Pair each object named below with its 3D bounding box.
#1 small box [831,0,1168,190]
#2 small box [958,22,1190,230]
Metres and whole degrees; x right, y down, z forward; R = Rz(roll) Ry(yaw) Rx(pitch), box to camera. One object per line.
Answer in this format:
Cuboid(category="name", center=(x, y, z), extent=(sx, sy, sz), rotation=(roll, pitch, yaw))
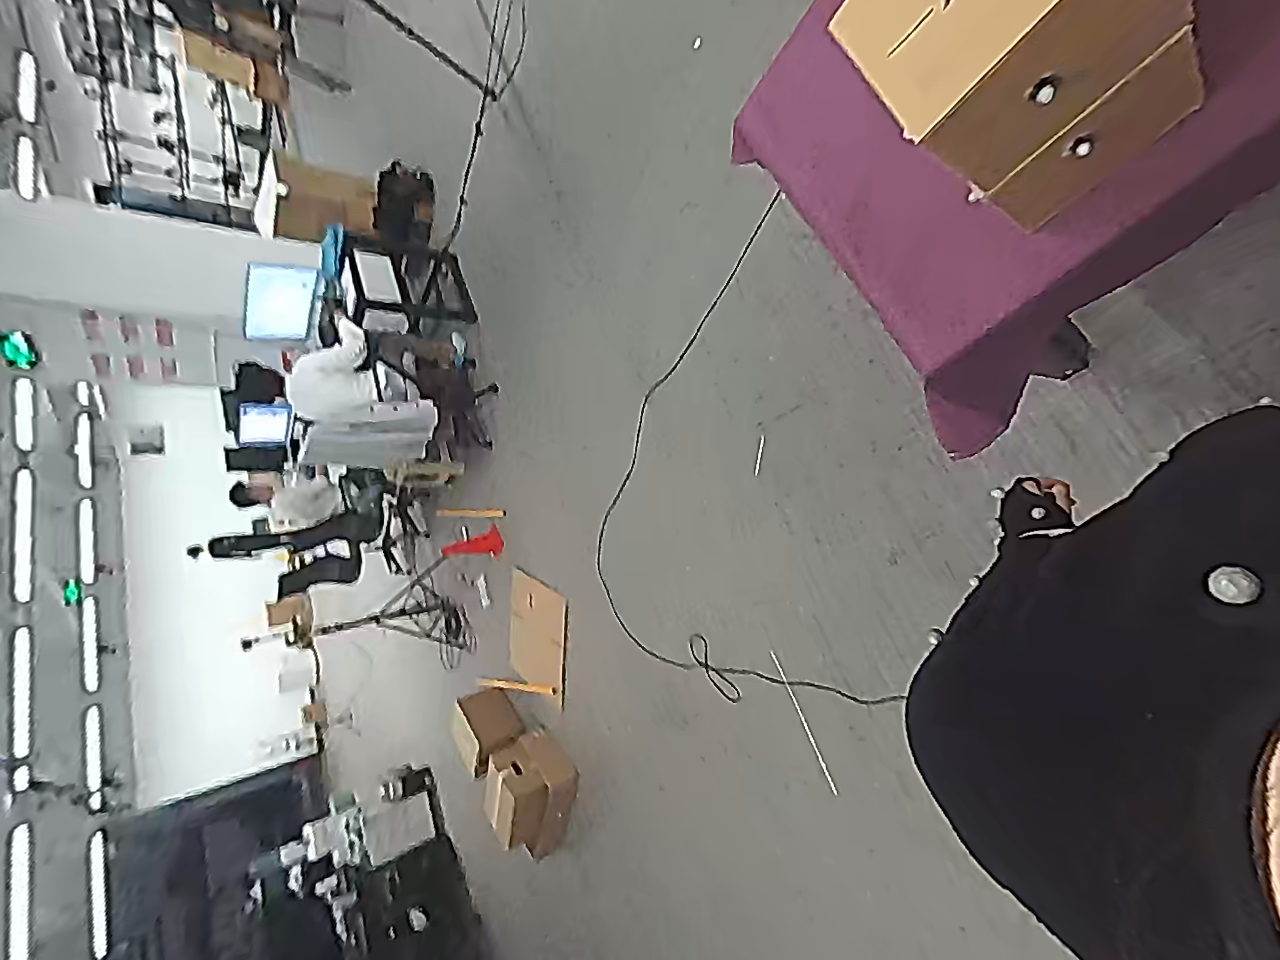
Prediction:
Cuboid(category="small box", center=(0.316, -0.401, 0.481), extent=(0.179, 0.176, 0.168), rotation=(-42, 63, 45))
Cuboid(category="small box", center=(0.439, -0.408, 0.589), extent=(0.179, 0.176, 0.168), rotation=(-40, 64, 44))
